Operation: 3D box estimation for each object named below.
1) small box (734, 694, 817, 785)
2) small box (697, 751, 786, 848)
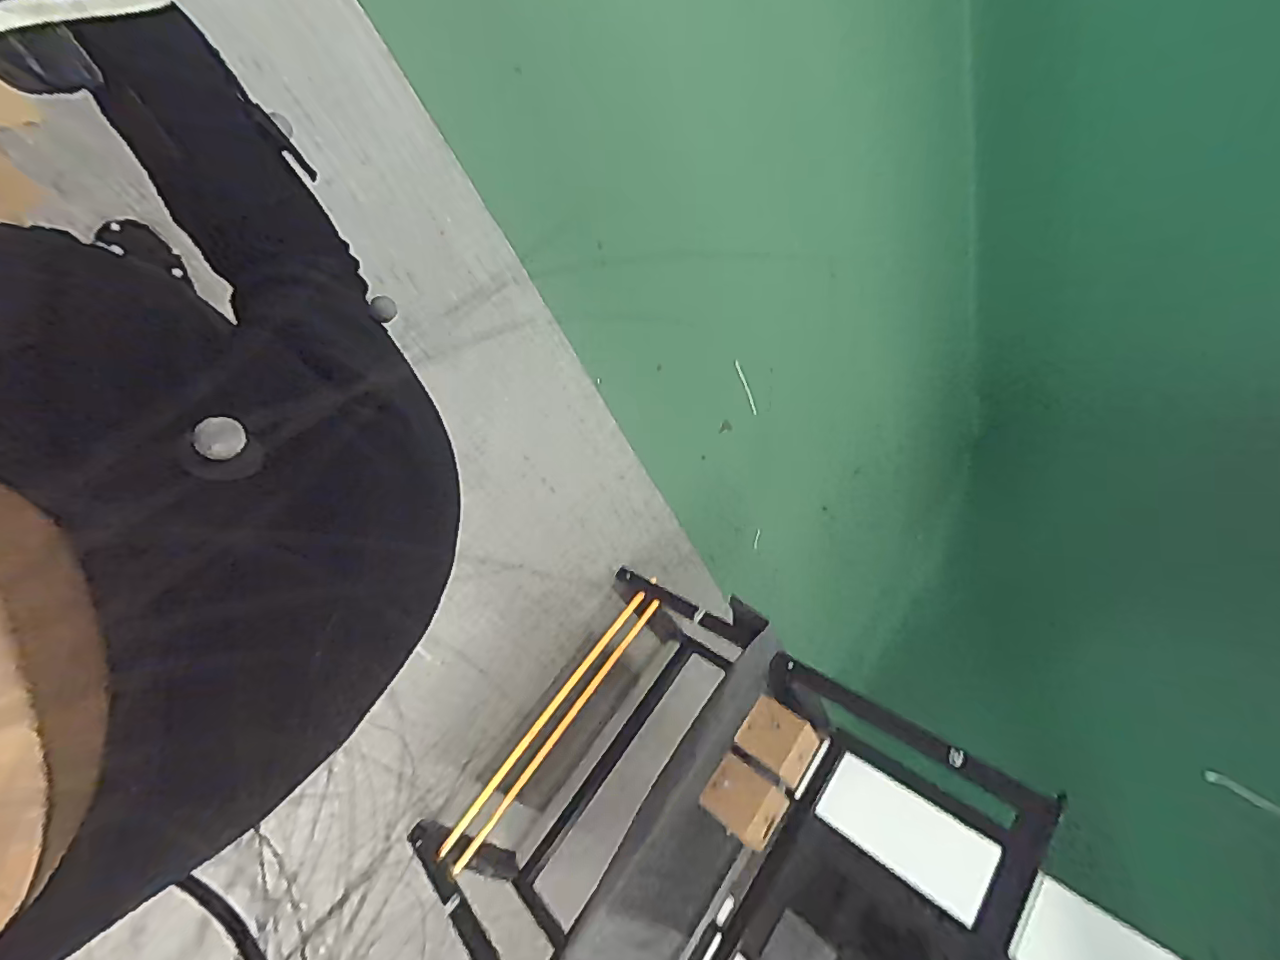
[{"bbox_3d":[0.412,0.788,1.654,0.168,0.176,0.179,-51,133,-18],"label":"small box"},{"bbox_3d":[0.299,0.939,1.598,0.168,0.176,0.179,-50,132,-20],"label":"small box"}]
